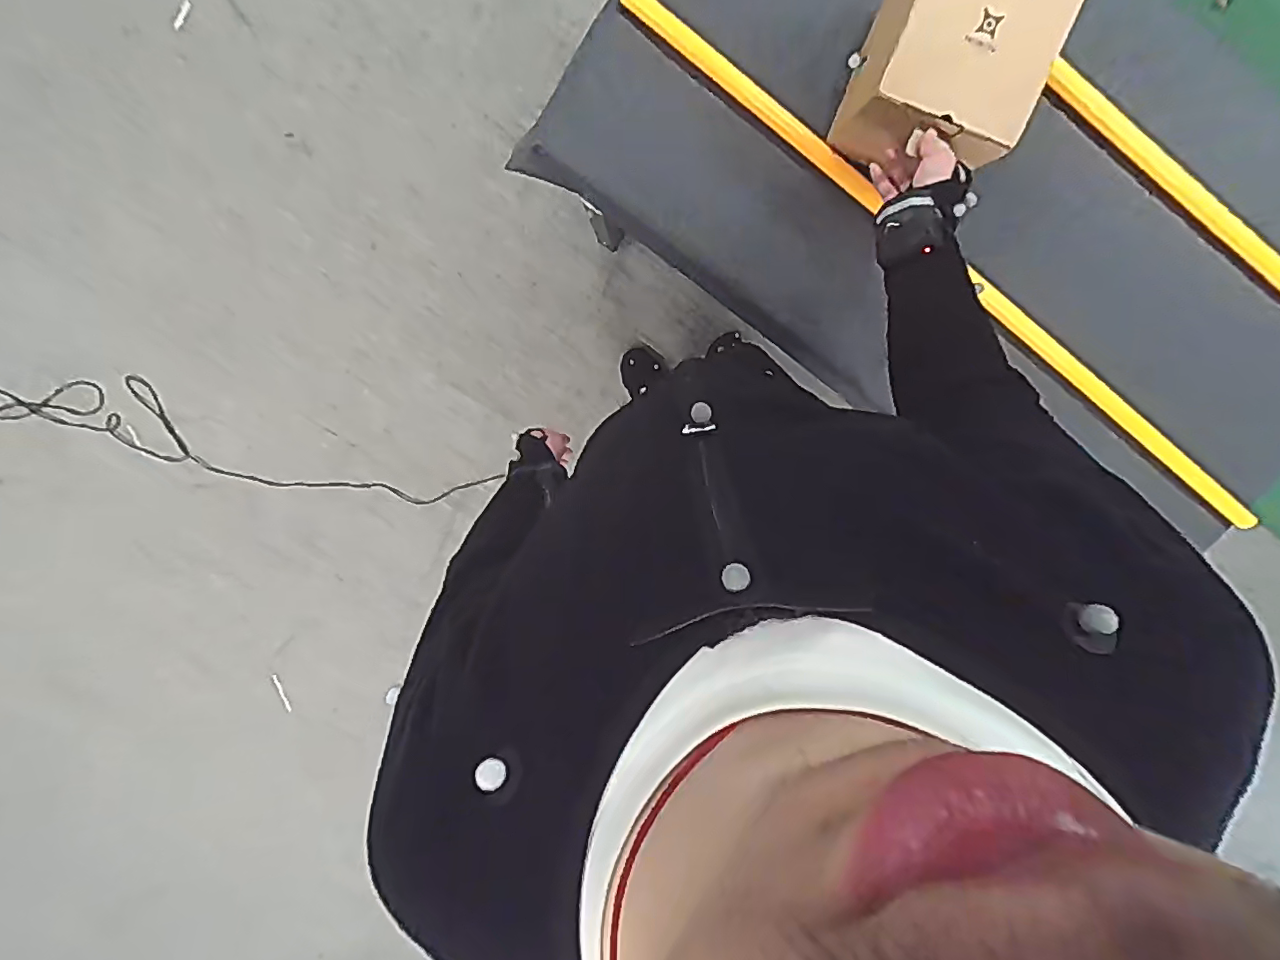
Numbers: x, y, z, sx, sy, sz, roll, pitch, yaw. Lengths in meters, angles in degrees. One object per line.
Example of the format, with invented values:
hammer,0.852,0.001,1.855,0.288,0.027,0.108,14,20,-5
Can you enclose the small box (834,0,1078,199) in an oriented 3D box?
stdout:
small box,0.356,-0.469,0.652,0.168,0.176,0.179,17,102,-2
